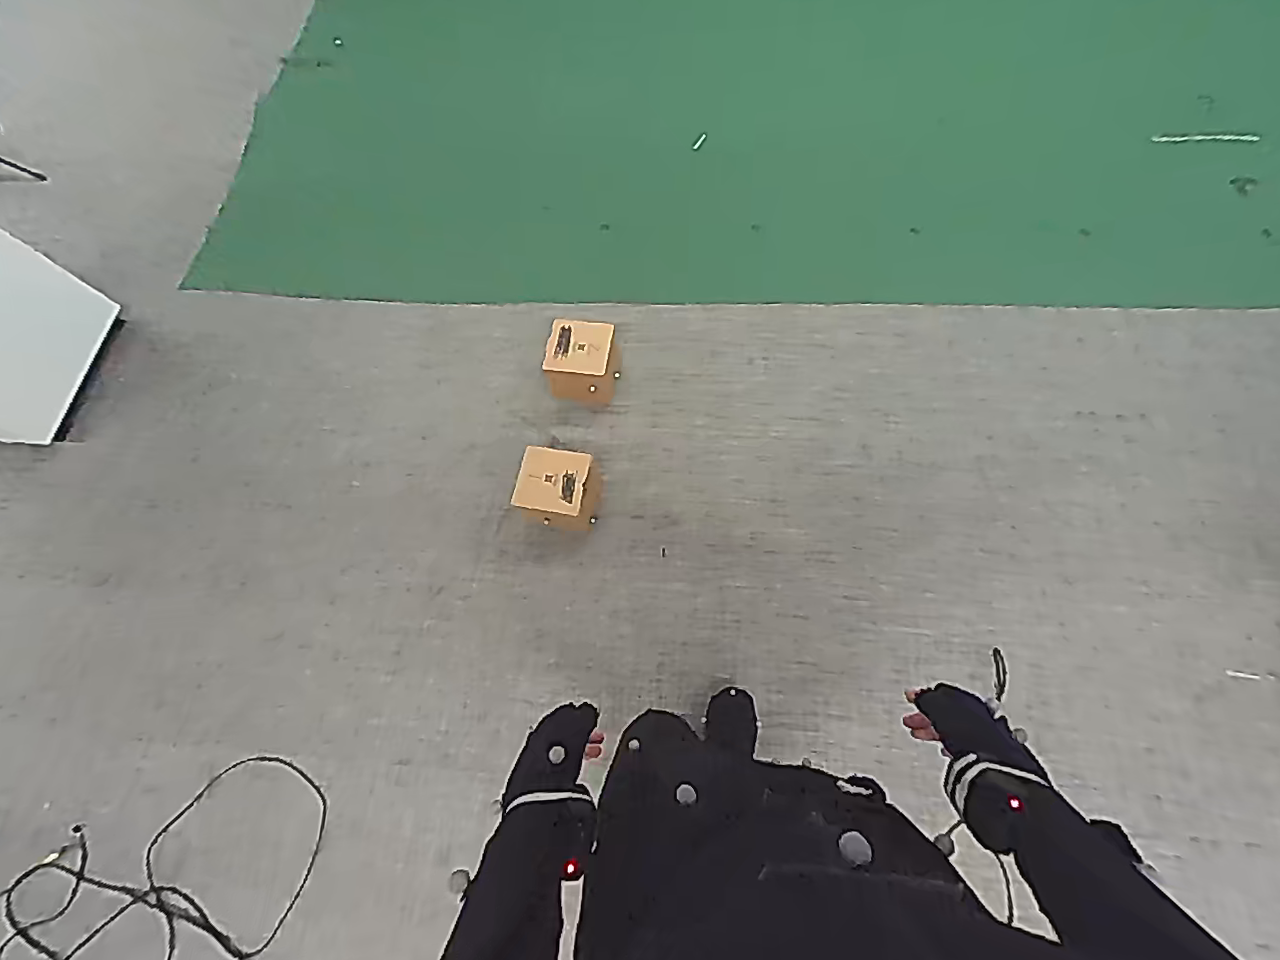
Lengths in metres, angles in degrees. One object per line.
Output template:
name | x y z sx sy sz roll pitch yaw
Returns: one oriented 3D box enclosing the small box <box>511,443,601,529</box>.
small box | -0.209 0.022 1.412 0.179 0.176 0.168 8 70 9
